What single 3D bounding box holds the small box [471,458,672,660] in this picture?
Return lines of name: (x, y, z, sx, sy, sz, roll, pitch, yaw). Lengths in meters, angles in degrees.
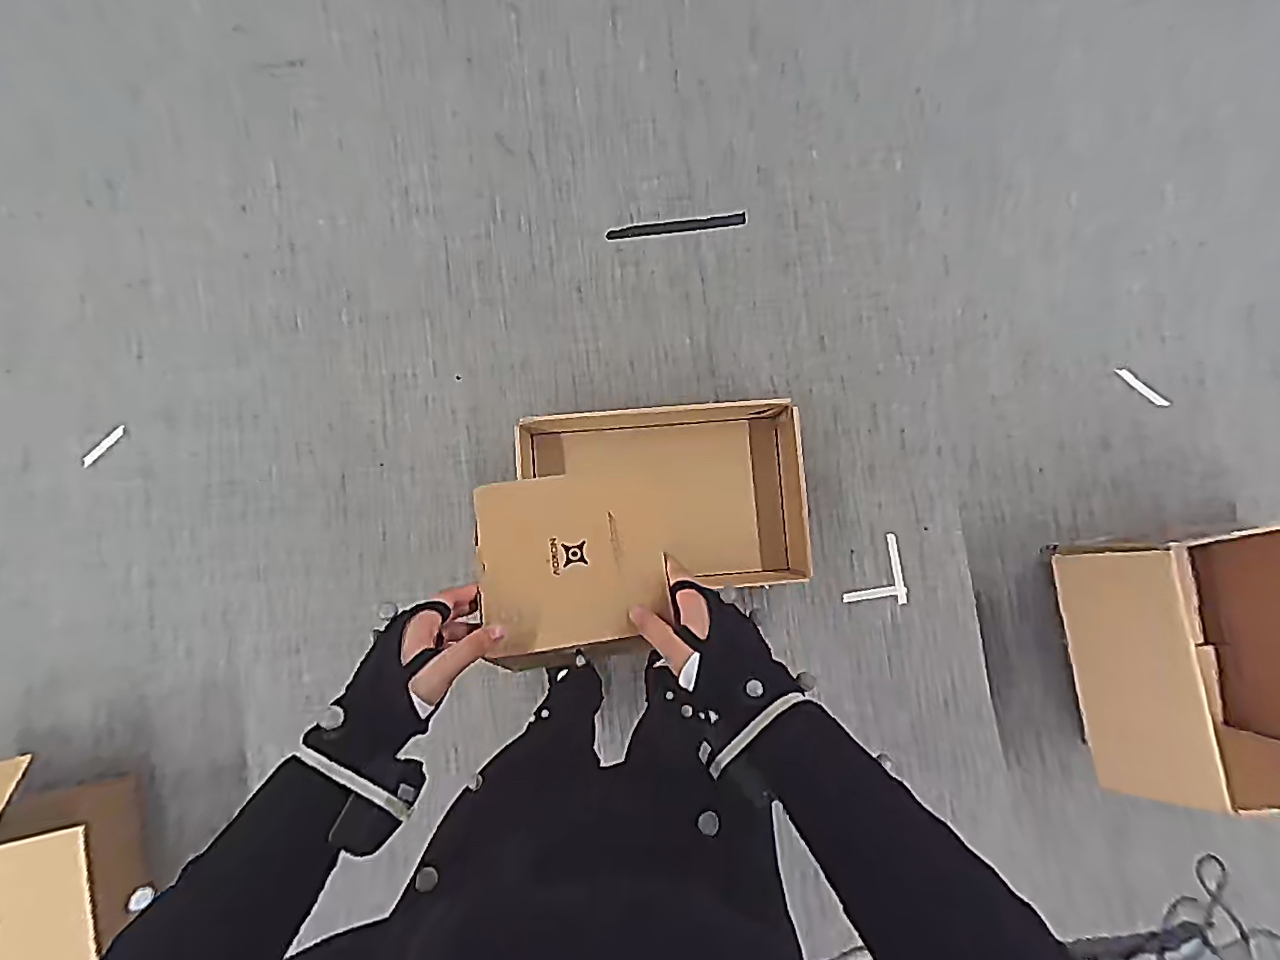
small box: (-0.071, 0.094, 0.583, 0.179, 0.176, 0.168, -8, 69, -7)
